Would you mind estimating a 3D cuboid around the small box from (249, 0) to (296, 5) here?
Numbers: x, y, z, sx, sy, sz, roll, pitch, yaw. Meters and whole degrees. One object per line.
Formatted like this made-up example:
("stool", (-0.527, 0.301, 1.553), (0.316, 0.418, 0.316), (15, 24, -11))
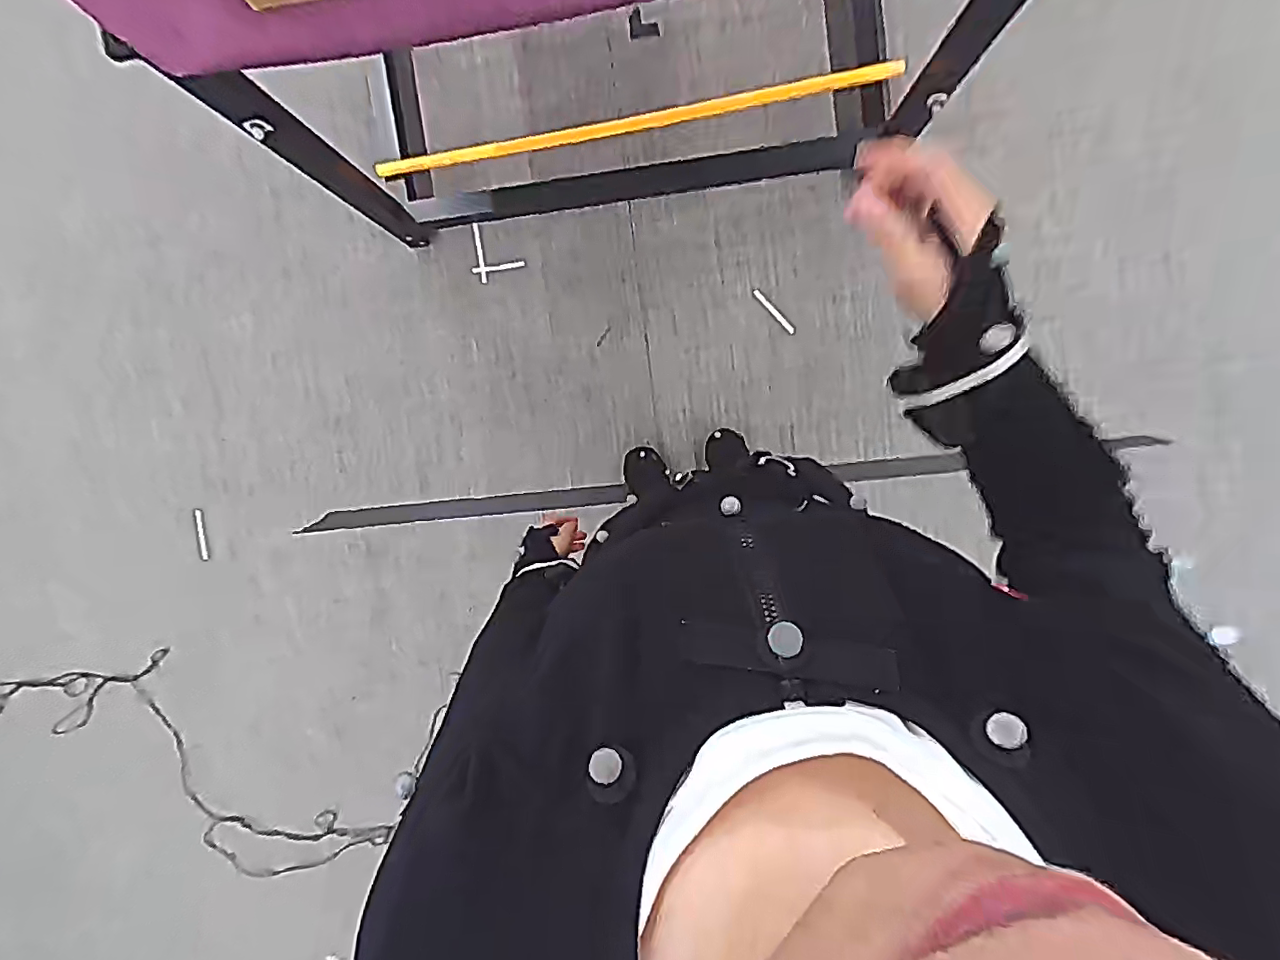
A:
("small box", (-0.389, -0.639, 0.550), (0.179, 0.176, 0.168), (-8, 93, 3))
